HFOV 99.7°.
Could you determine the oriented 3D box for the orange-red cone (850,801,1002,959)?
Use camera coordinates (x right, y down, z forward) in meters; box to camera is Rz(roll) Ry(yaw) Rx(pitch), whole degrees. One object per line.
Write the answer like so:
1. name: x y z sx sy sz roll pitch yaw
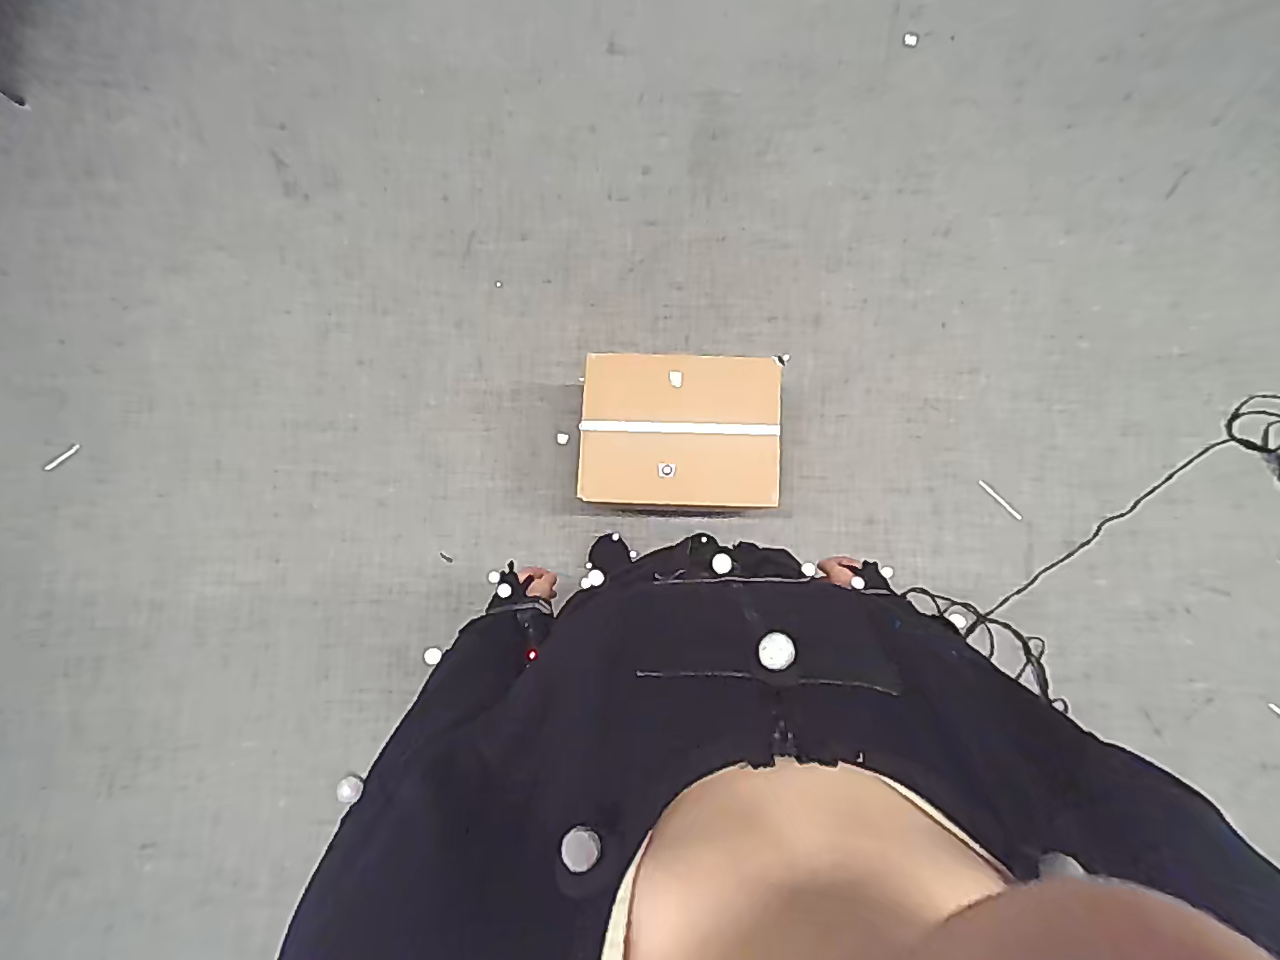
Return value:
1. orange-red cone: 0.610 0.854 1.088 0.199 0.360 0.198 21 85 1
